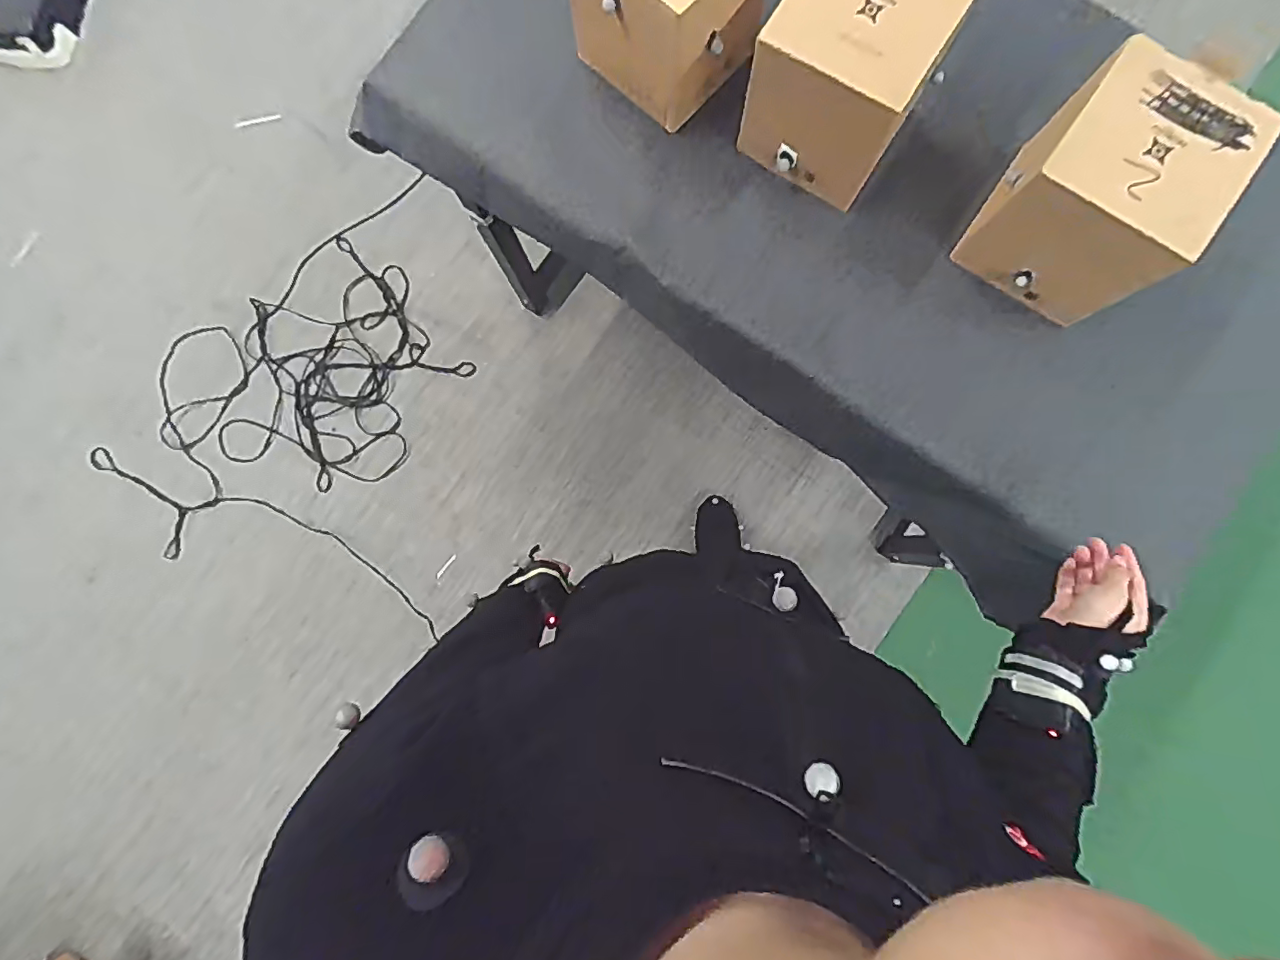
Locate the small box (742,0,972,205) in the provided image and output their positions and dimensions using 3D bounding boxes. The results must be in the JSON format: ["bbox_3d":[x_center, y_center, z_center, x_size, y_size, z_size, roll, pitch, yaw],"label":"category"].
[{"bbox_3d":[0.233,-0.466,0.619,0.168,0.176,0.179,31,86,6],"label":"small box"}]

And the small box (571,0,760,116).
[{"bbox_3d":[0.033,-0.578,0.635,0.179,0.176,0.168,42,86,5],"label":"small box"}]
